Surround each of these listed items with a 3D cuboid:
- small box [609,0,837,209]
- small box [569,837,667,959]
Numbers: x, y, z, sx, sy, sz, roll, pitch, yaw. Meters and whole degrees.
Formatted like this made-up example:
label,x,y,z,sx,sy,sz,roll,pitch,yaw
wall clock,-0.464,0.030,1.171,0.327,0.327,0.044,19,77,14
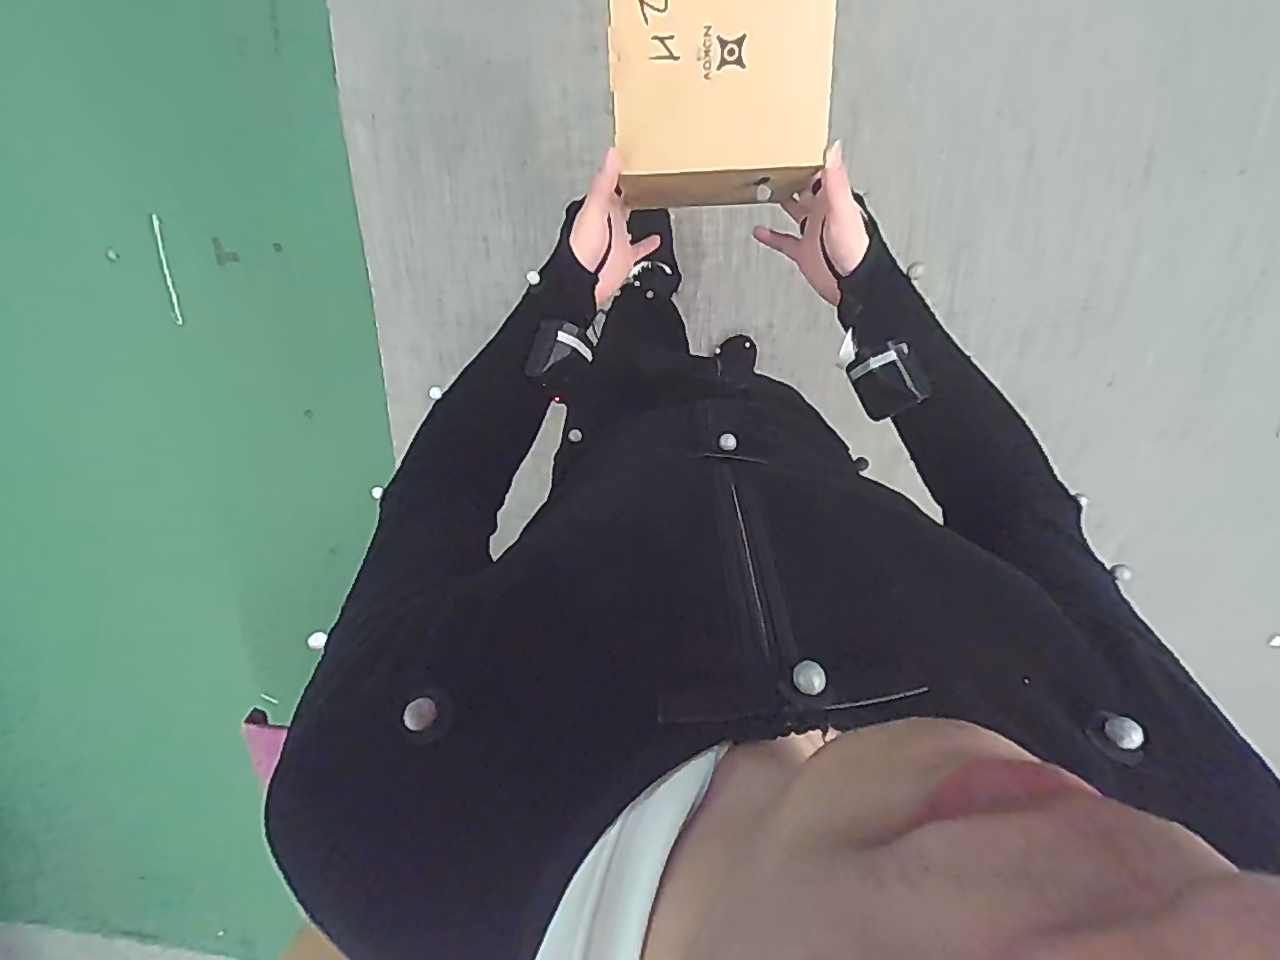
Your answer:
label,x,y,z,sx,sy,sz,roll,pitch,yaw
small box,0.067,-0.355,0.498,0.179,0.176,0.168,-1,107,3
small box,-0.038,0.876,1.119,0.179,0.176,0.168,0,108,6
